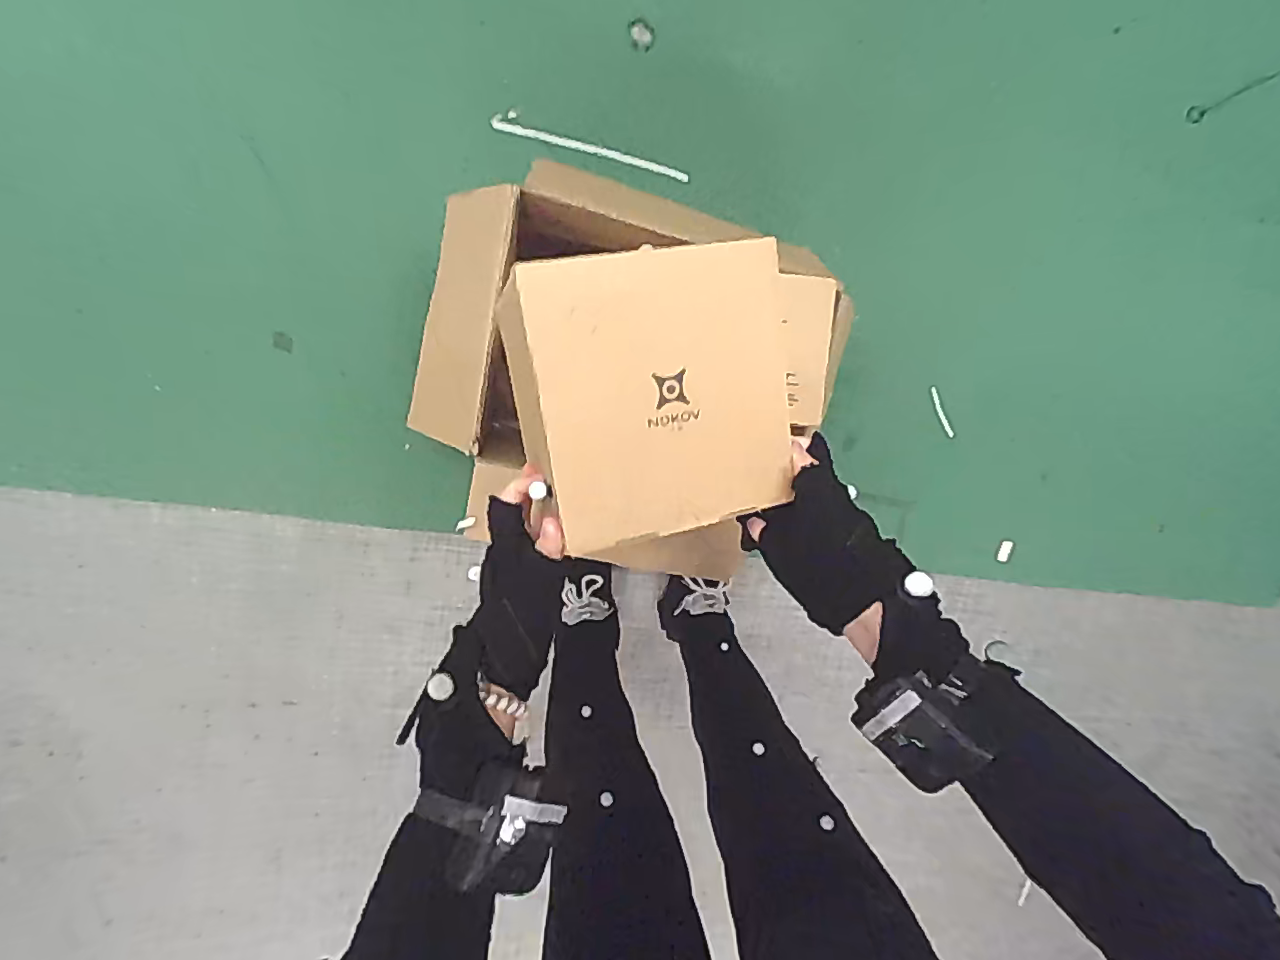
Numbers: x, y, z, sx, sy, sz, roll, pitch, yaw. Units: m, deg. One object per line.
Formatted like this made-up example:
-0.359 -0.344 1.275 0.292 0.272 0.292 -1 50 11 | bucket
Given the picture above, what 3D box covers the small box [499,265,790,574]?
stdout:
-0.007 -0.054 0.419 0.168 0.176 0.179 -13 106 -16 | small box
